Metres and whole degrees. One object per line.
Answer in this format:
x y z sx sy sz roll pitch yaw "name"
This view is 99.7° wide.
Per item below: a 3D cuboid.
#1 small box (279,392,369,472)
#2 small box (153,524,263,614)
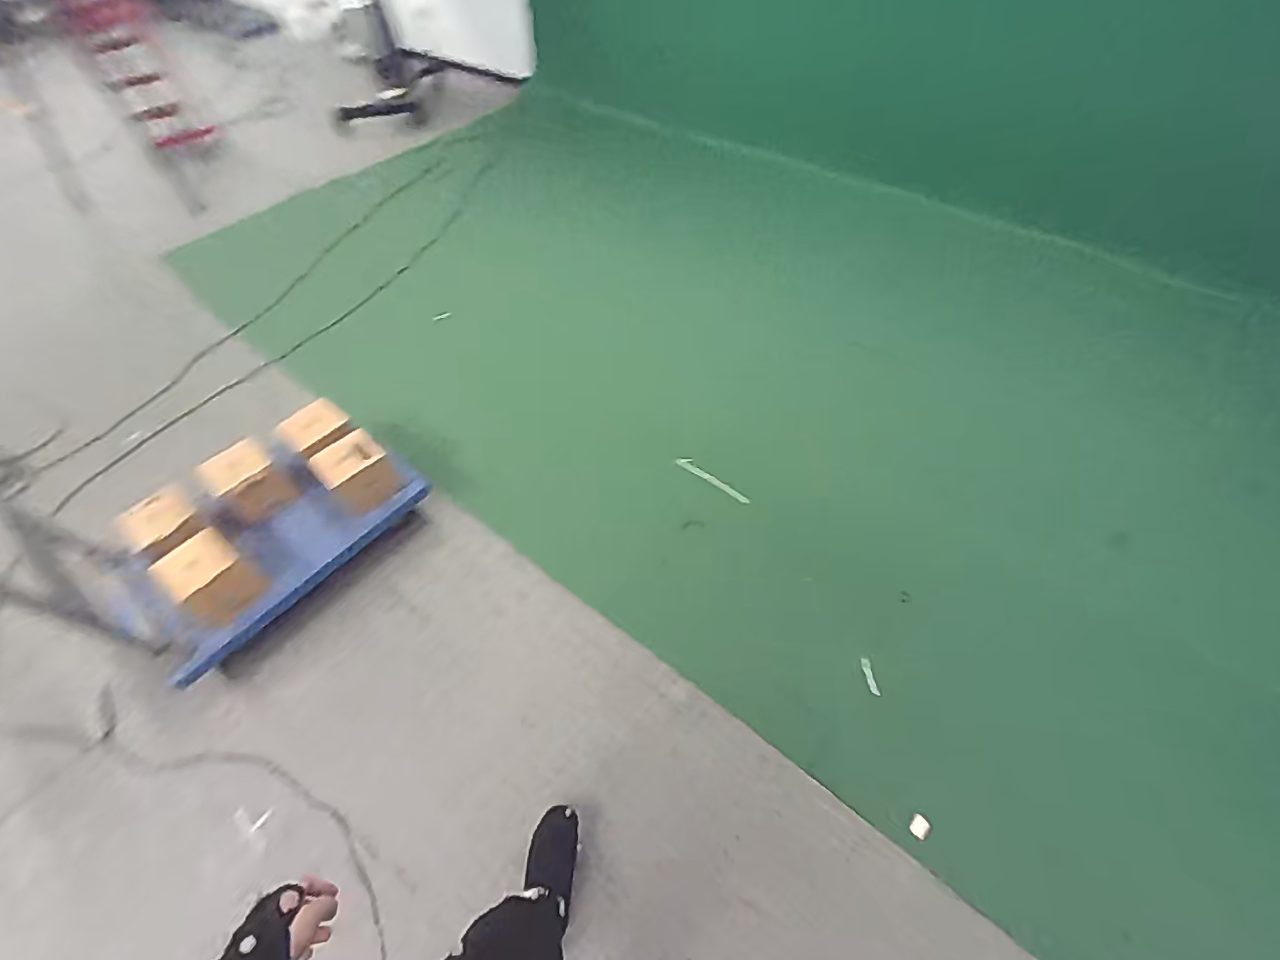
-1.061 -0.158 1.829 0.168 0.176 0.179 35 62 23 "small box"
-1.216 0.258 1.534 0.179 0.176 0.168 -17 57 -10 "small box"
